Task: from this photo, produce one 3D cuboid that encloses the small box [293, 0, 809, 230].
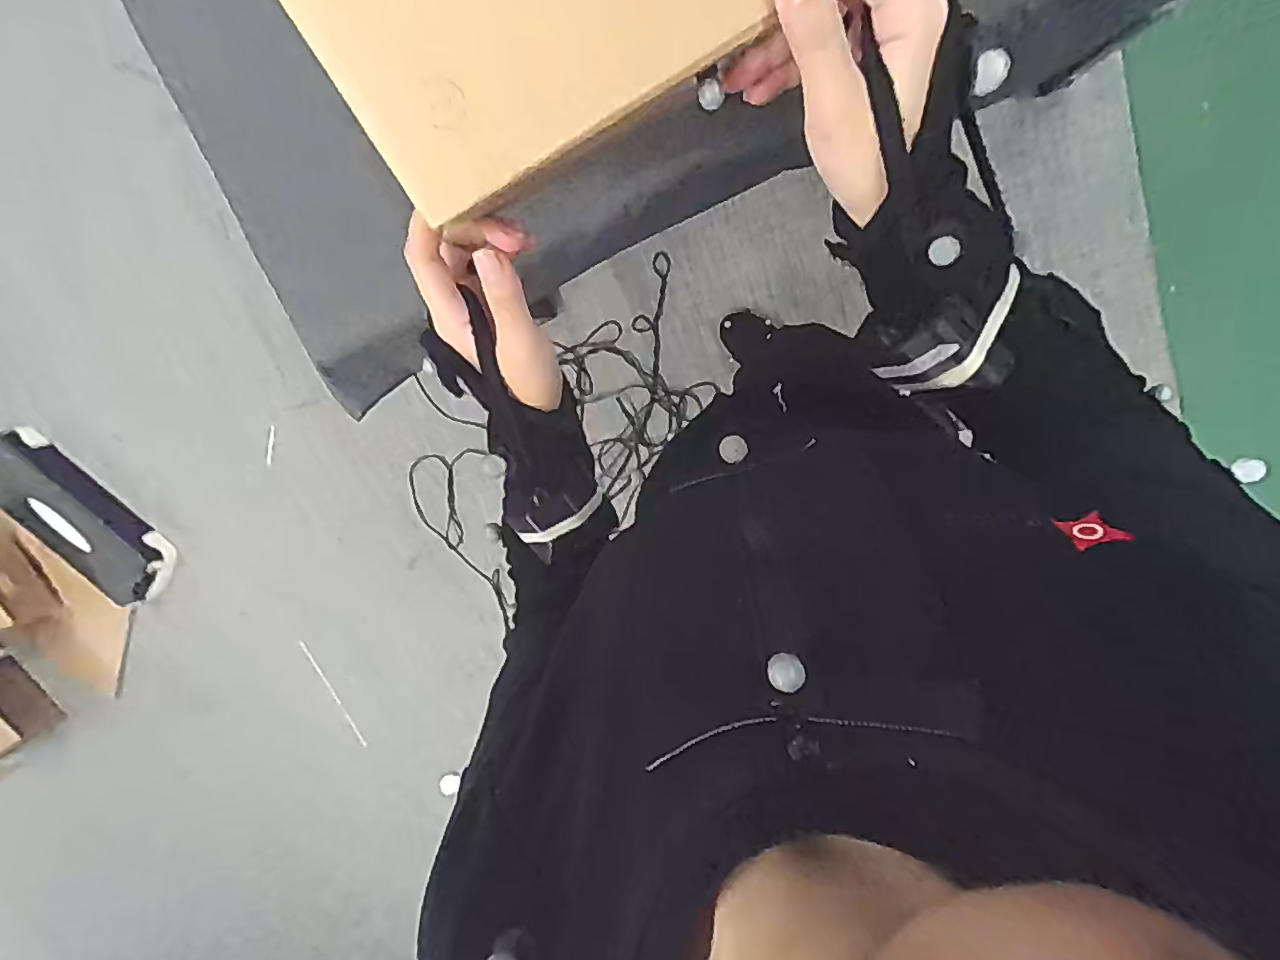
[{"bbox_3d":[-0.048,-0.242,0.254,0.179,0.176,0.168,-25,117,12],"label":"small box"}]
